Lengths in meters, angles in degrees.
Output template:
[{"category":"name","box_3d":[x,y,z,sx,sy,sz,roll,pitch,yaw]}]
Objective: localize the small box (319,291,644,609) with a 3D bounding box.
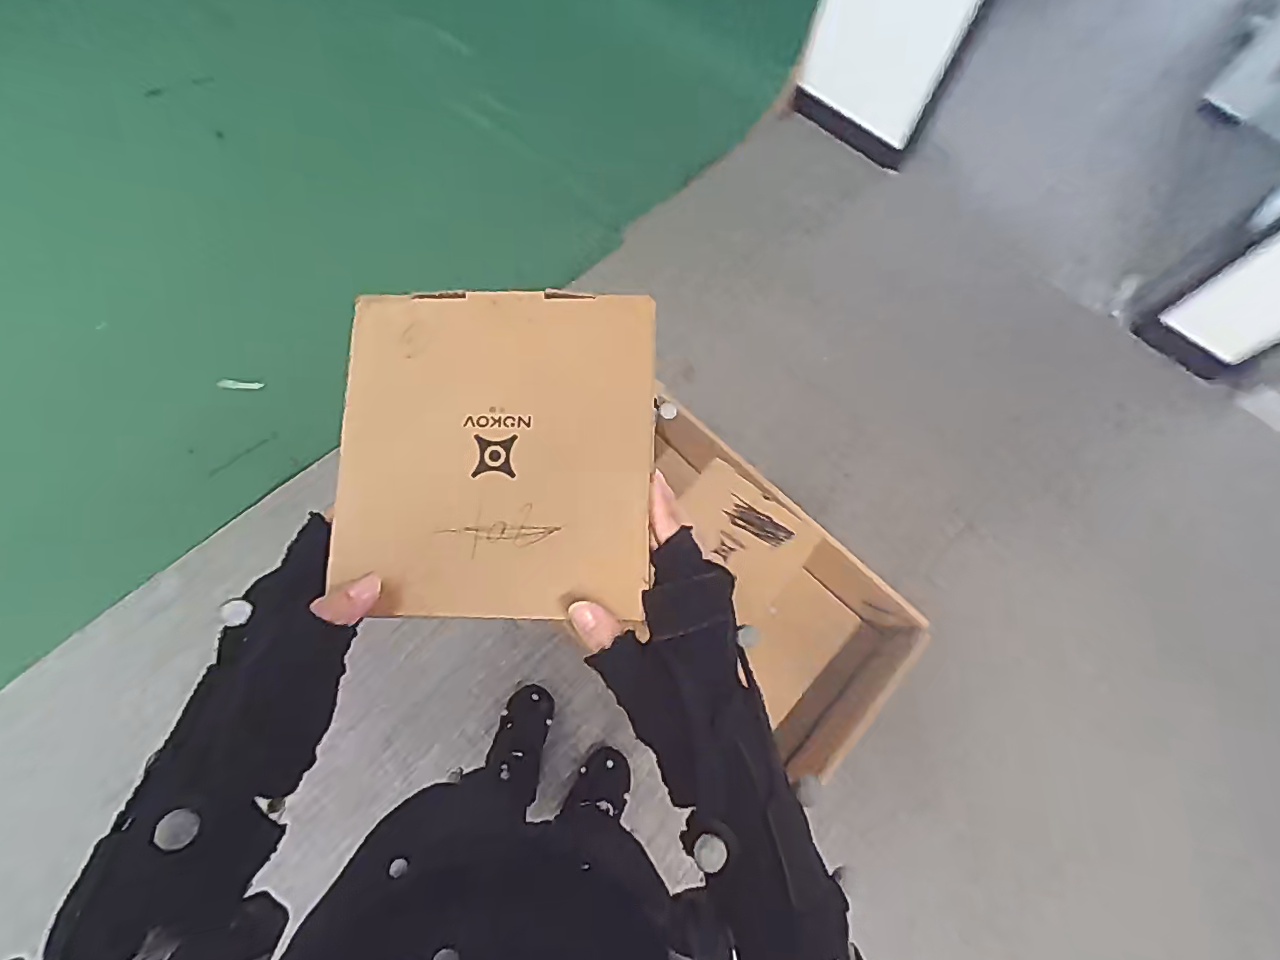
[{"category":"small box","box_3d":[-0.083,-0.008,0.370,0.168,0.176,0.179,0,83,2]}]

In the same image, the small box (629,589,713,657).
[{"category":"small box","box_3d":[0.086,0.165,0.882,0.168,0.176,0.179,37,70,12]}]

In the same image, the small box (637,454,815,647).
[{"category":"small box","box_3d":[0.098,0.102,0.731,0.168,0.176,0.179,38,72,12]}]
